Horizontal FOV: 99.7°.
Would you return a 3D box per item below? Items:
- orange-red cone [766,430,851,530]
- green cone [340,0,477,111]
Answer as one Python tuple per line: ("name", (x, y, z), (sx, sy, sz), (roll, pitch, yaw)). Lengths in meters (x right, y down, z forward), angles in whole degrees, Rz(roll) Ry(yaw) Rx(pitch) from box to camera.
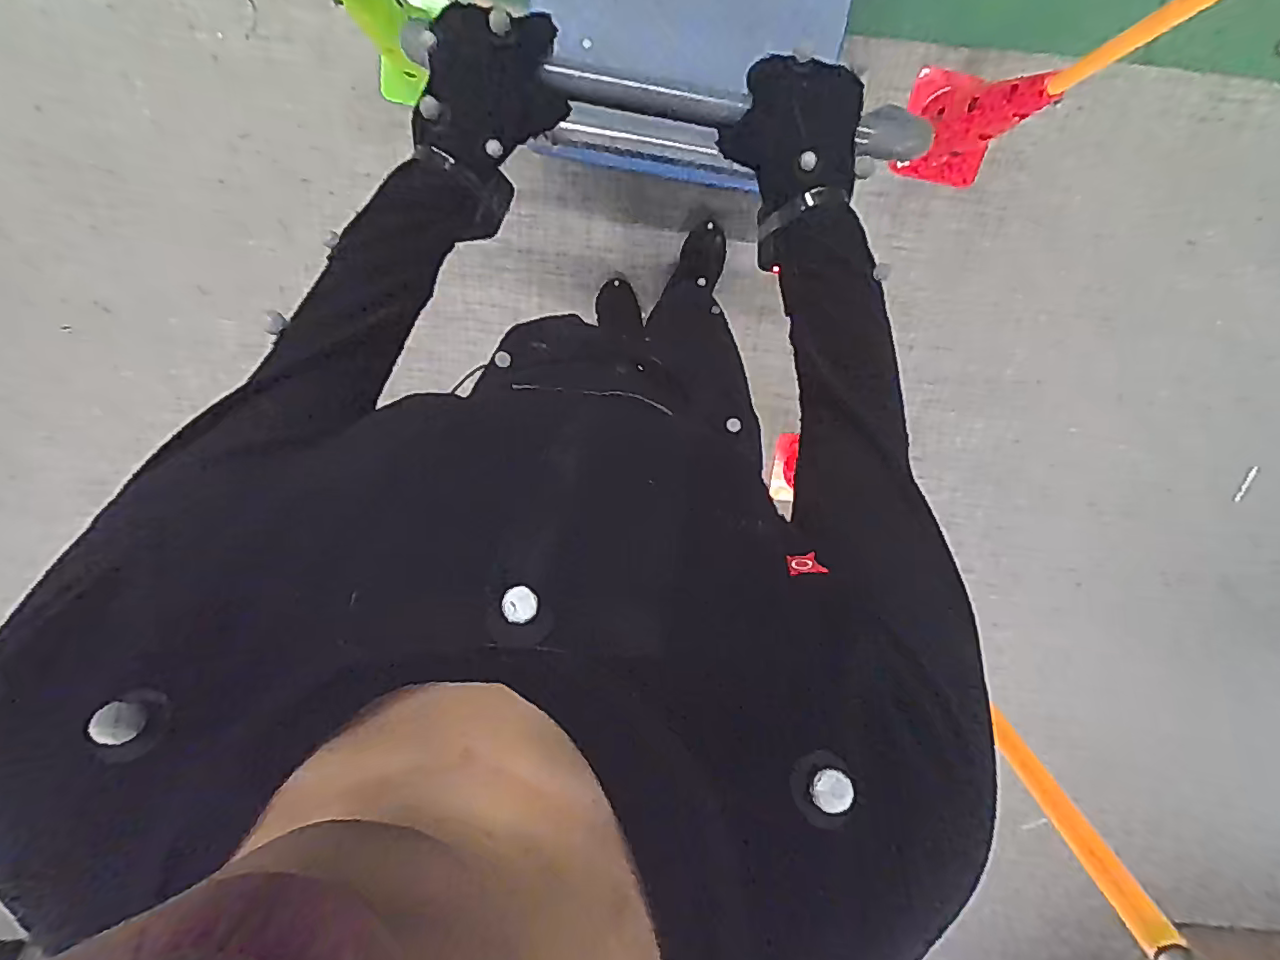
("orange-red cone", (0.454, 0.028, 1.353), (0.199, 0.360, 0.198), (7, 113, 1))
("green cone", (-0.460, -0.855, 0.999), (0.202, 0.368, 0.200), (11, 113, -2))
